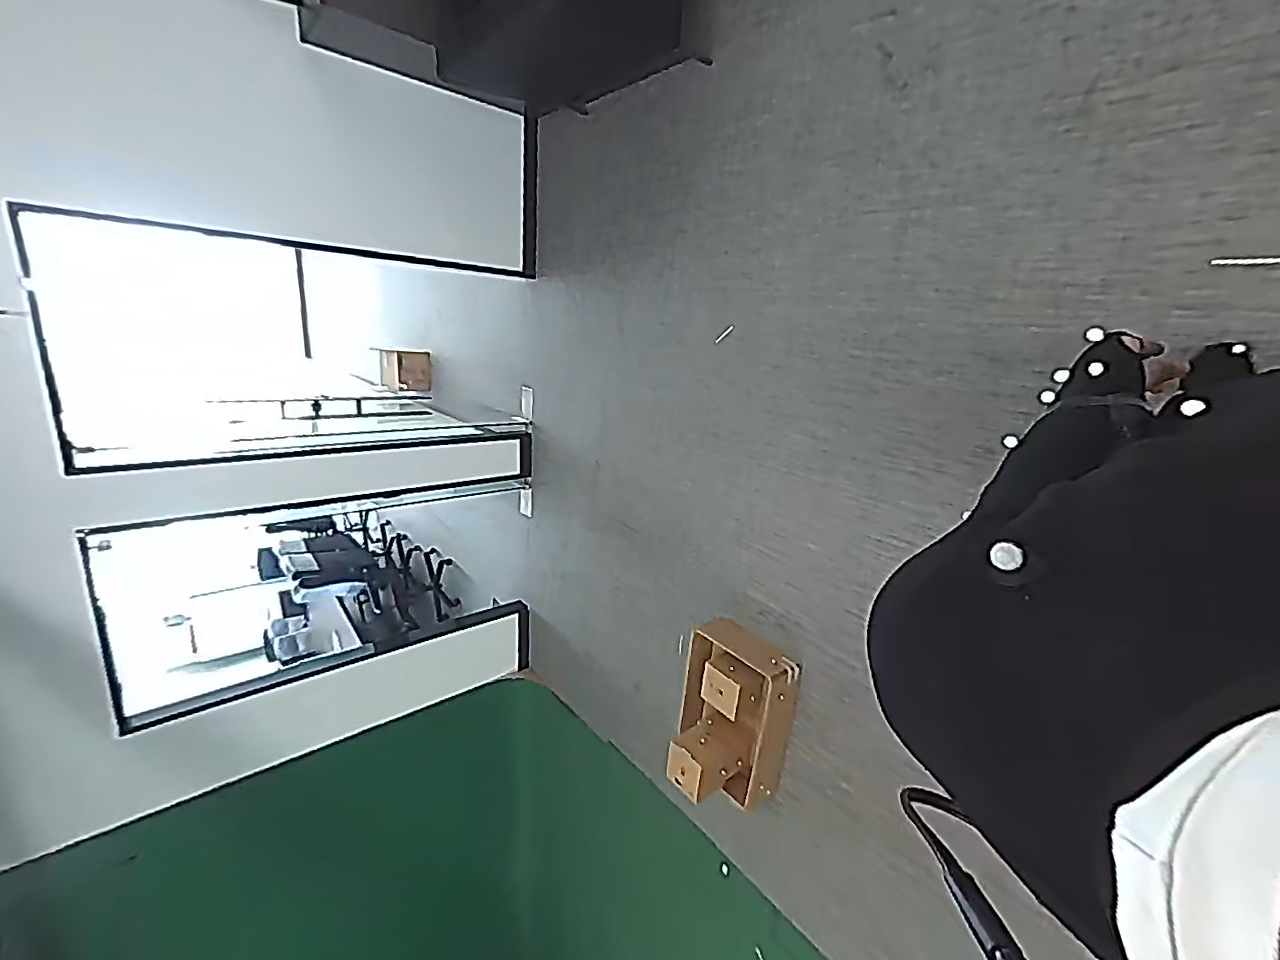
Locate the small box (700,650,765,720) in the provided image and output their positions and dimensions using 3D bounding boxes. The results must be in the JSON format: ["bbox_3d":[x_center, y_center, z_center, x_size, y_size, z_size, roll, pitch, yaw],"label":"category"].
[{"bbox_3d":[0.364,0.792,2.112,0.179,0.176,0.168,25,116,45],"label":"small box"}]

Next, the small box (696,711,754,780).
[{"bbox_3d":[0.341,1.065,2.193,0.179,0.176,0.168,23,114,46],"label":"small box"}]

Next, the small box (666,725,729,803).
[{"bbox_3d":[0.224,1.083,2.078,0.168,0.176,0.179,23,113,46],"label":"small box"}]
